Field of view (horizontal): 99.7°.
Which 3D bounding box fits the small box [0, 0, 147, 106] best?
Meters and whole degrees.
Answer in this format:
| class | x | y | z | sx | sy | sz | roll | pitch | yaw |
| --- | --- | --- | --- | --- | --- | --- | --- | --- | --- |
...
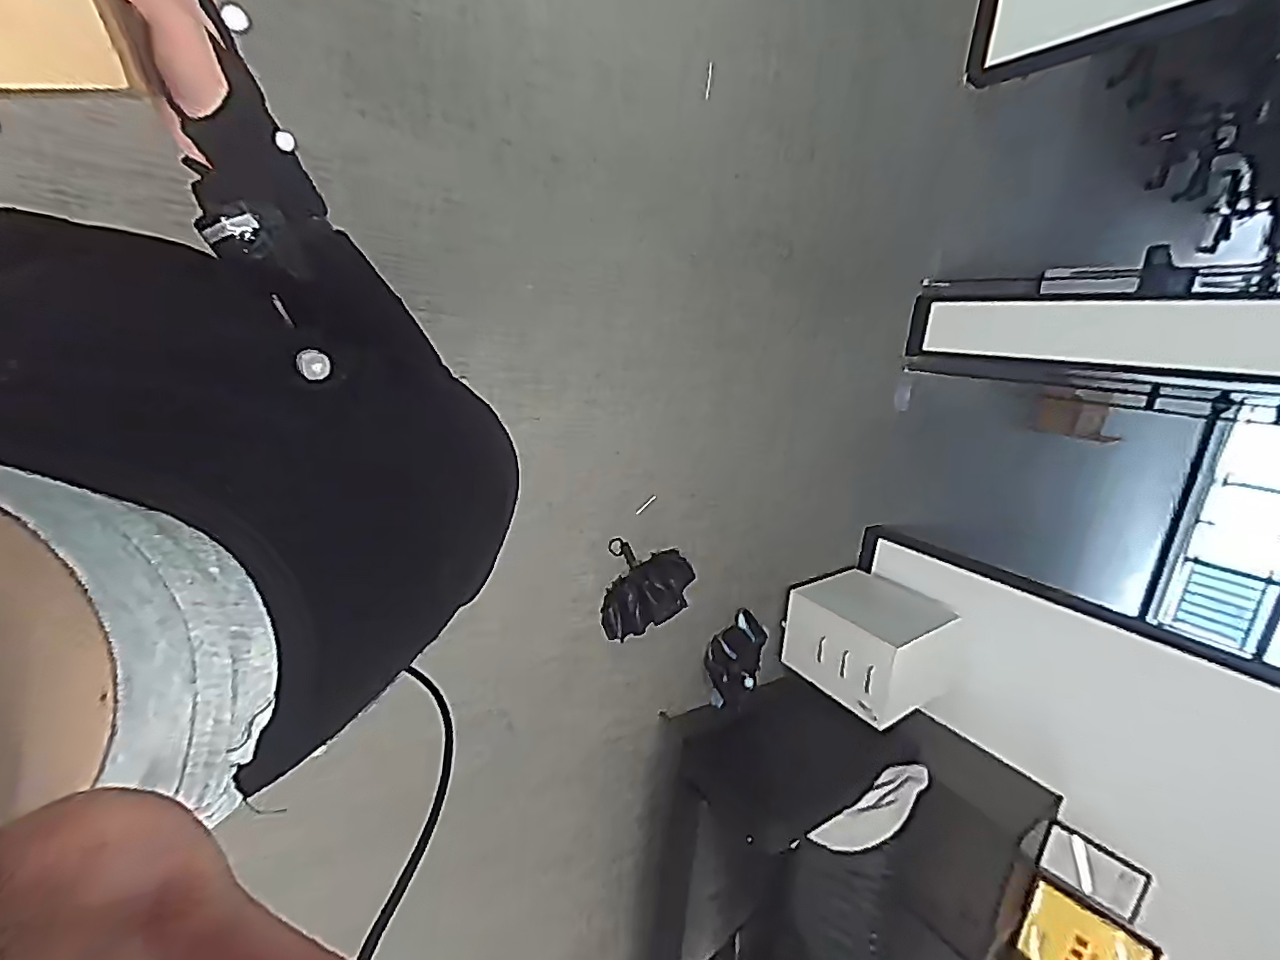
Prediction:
| class | x | y | z | sx | sy | sz | roll | pitch | yaw |
| --- | --- | --- | --- | --- | --- | --- | --- | --- | --- |
| small box | -0.365 | -0.275 | 0.240 | 0.168 | 0.176 | 0.179 | -21 | 130 | -26 |
